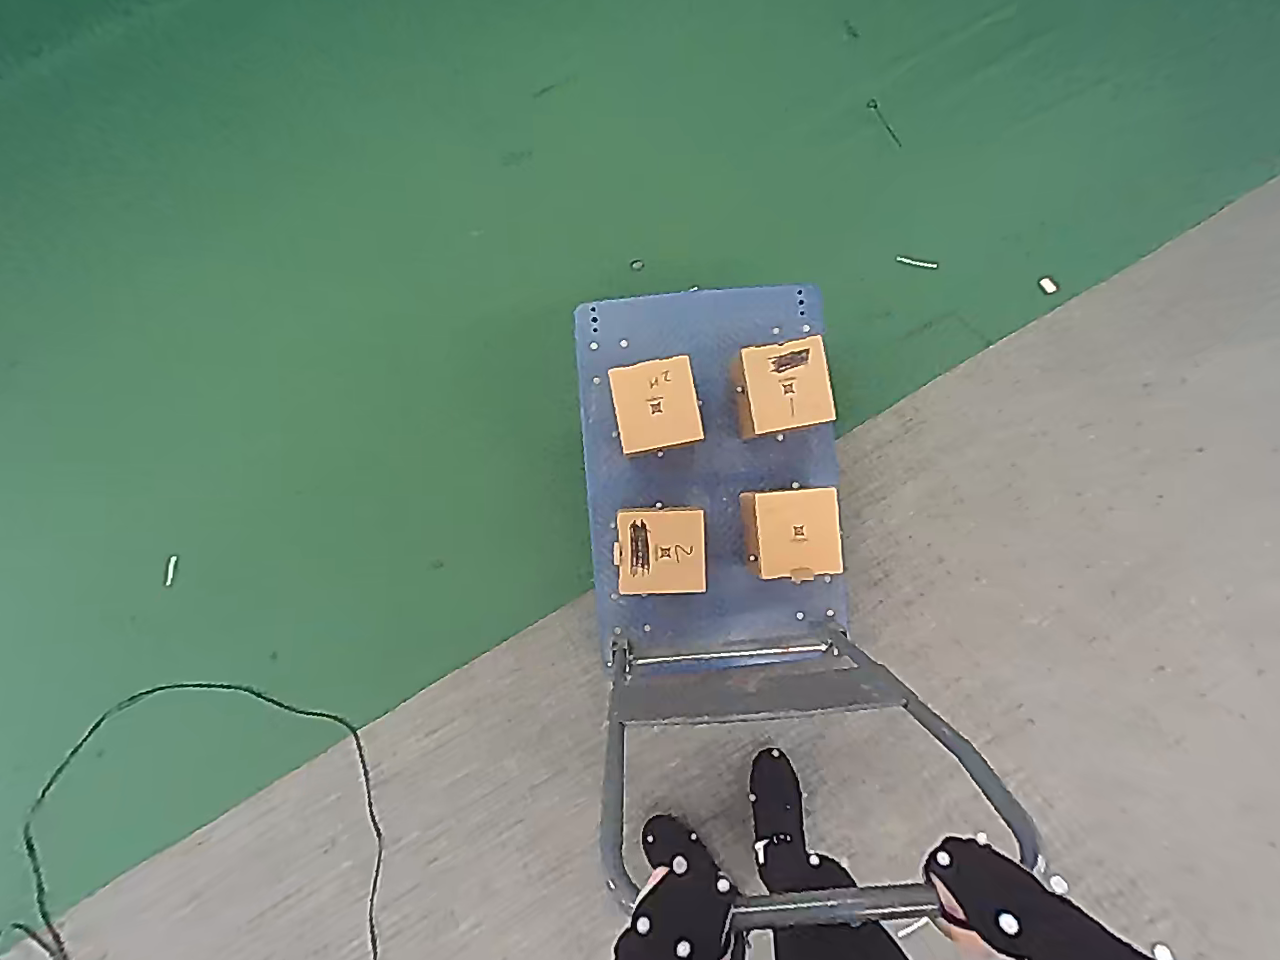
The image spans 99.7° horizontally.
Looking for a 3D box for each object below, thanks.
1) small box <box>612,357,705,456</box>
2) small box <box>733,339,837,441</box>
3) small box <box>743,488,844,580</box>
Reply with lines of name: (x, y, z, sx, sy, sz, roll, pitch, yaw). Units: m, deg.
small box: (0.038, -0.149, 1.162, 0.168, 0.176, 0.179, -10, 89, -1)
small box: (0.303, -0.186, 1.161, 0.168, 0.176, 0.179, -9, 90, 0)
small box: (0.321, 0.110, 1.160, 0.168, 0.176, 0.179, -4, 90, 0)
